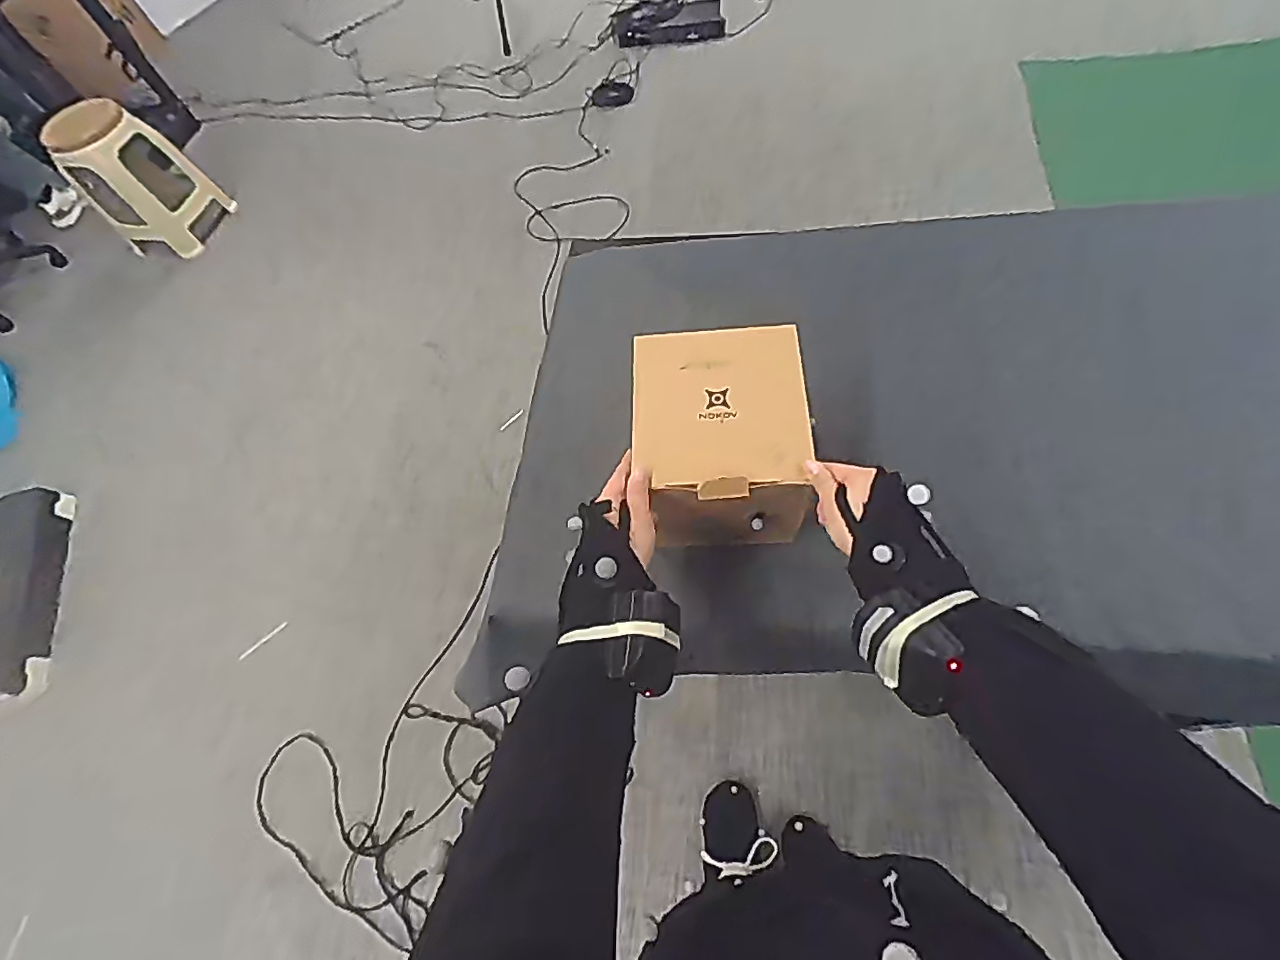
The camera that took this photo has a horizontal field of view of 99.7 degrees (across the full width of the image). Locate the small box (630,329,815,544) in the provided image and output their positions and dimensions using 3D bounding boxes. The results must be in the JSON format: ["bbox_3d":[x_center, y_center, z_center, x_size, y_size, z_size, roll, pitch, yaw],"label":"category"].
[{"bbox_3d":[0.083,-0.035,0.583,0.168,0.176,0.179,-3,63,6],"label":"small box"}]
